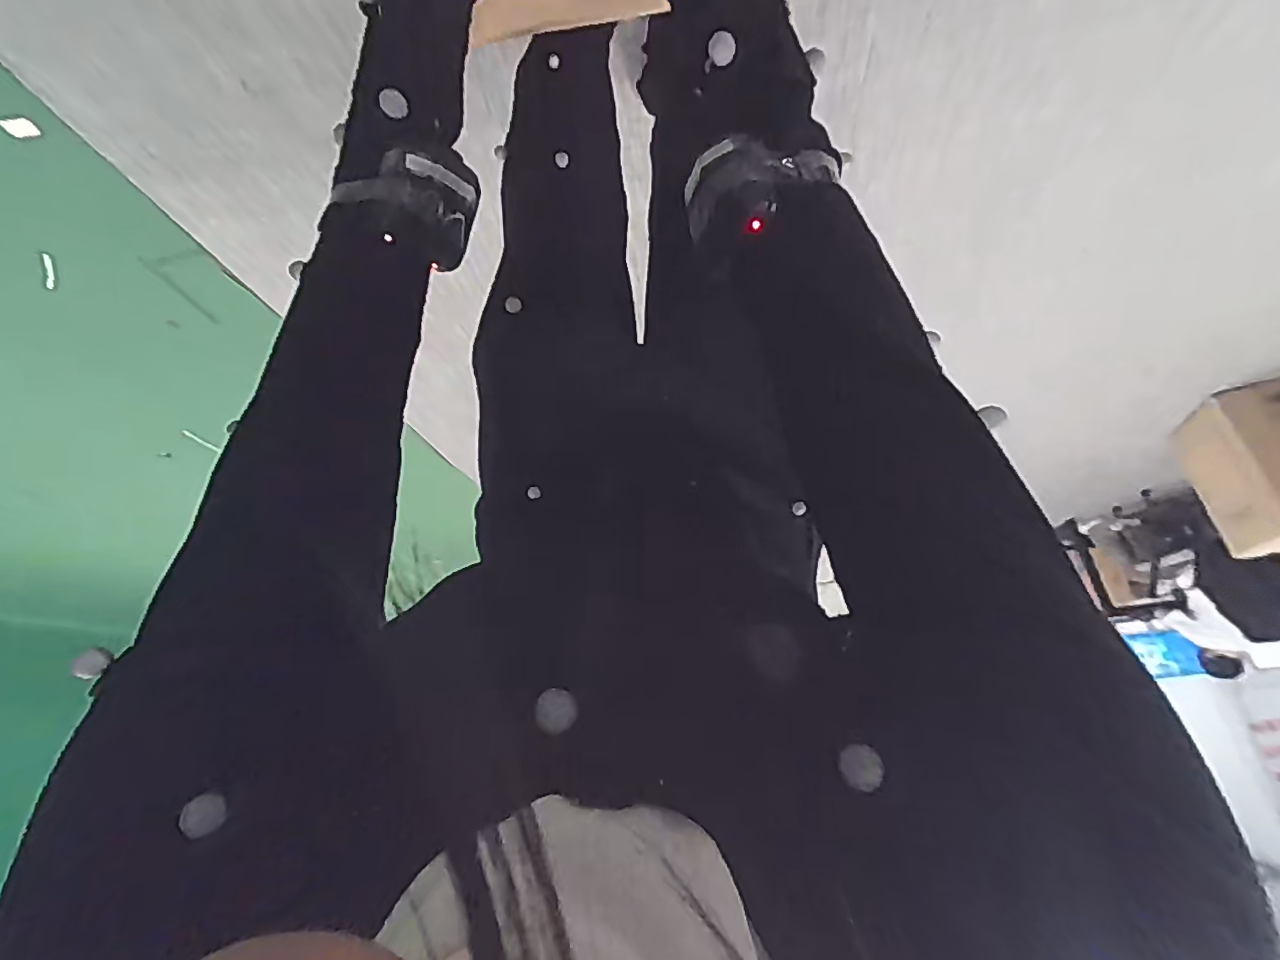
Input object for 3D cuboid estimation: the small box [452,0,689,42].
[{"bbox_3d":[-0.062,-0.451,0.371,0.179,0.176,0.168,-6,154,3],"label":"small box"}]
